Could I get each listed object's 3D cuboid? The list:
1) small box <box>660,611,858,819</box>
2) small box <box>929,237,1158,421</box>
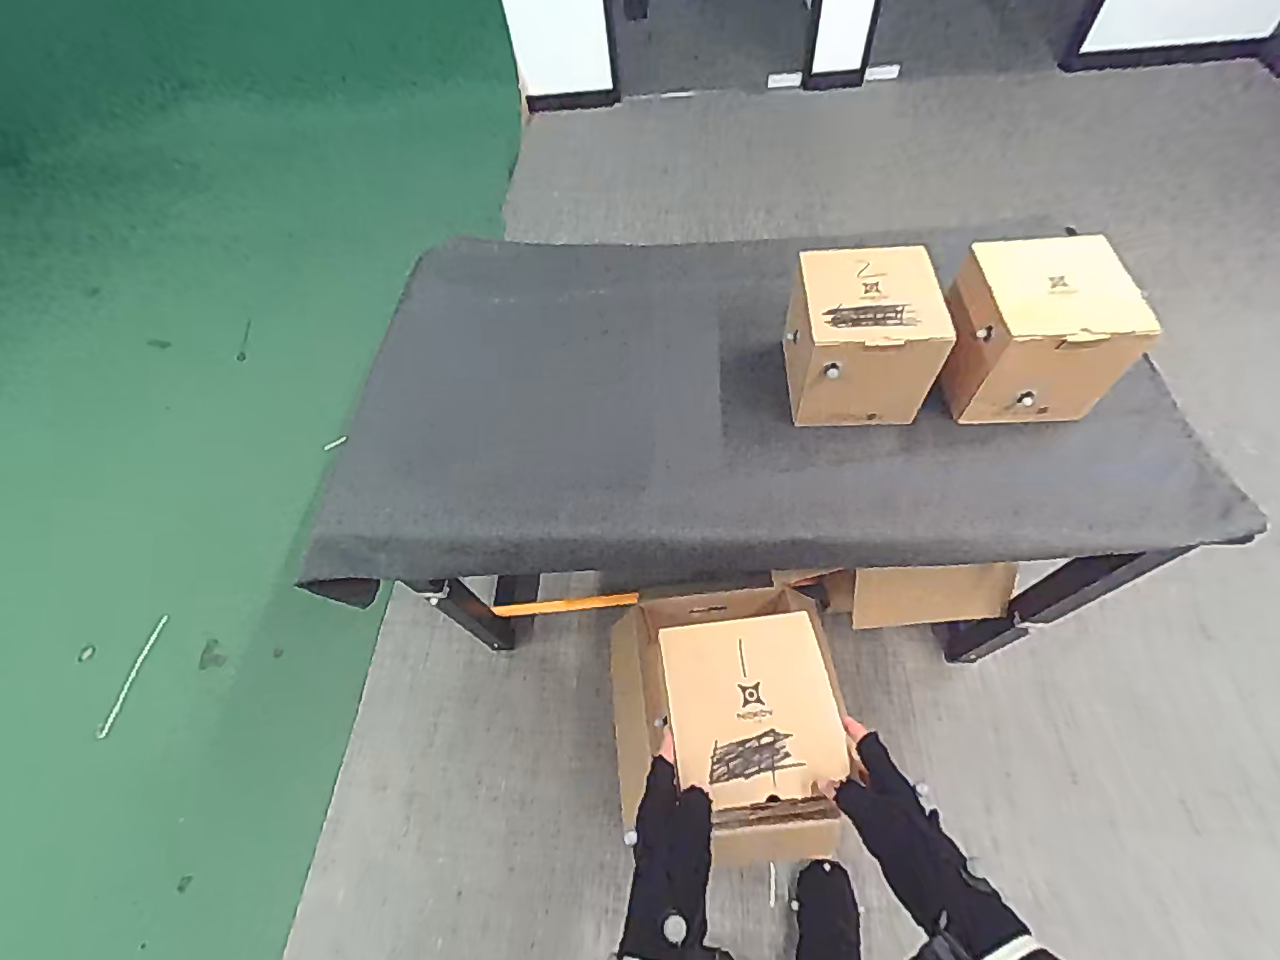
[{"bbox_3d":[0.115,0.266,0.601,0.168,0.176,0.179,-6,54,-2],"label":"small box"},{"bbox_3d":[0.522,-0.200,0.737,0.168,0.176,0.179,-2,59,6],"label":"small box"}]
